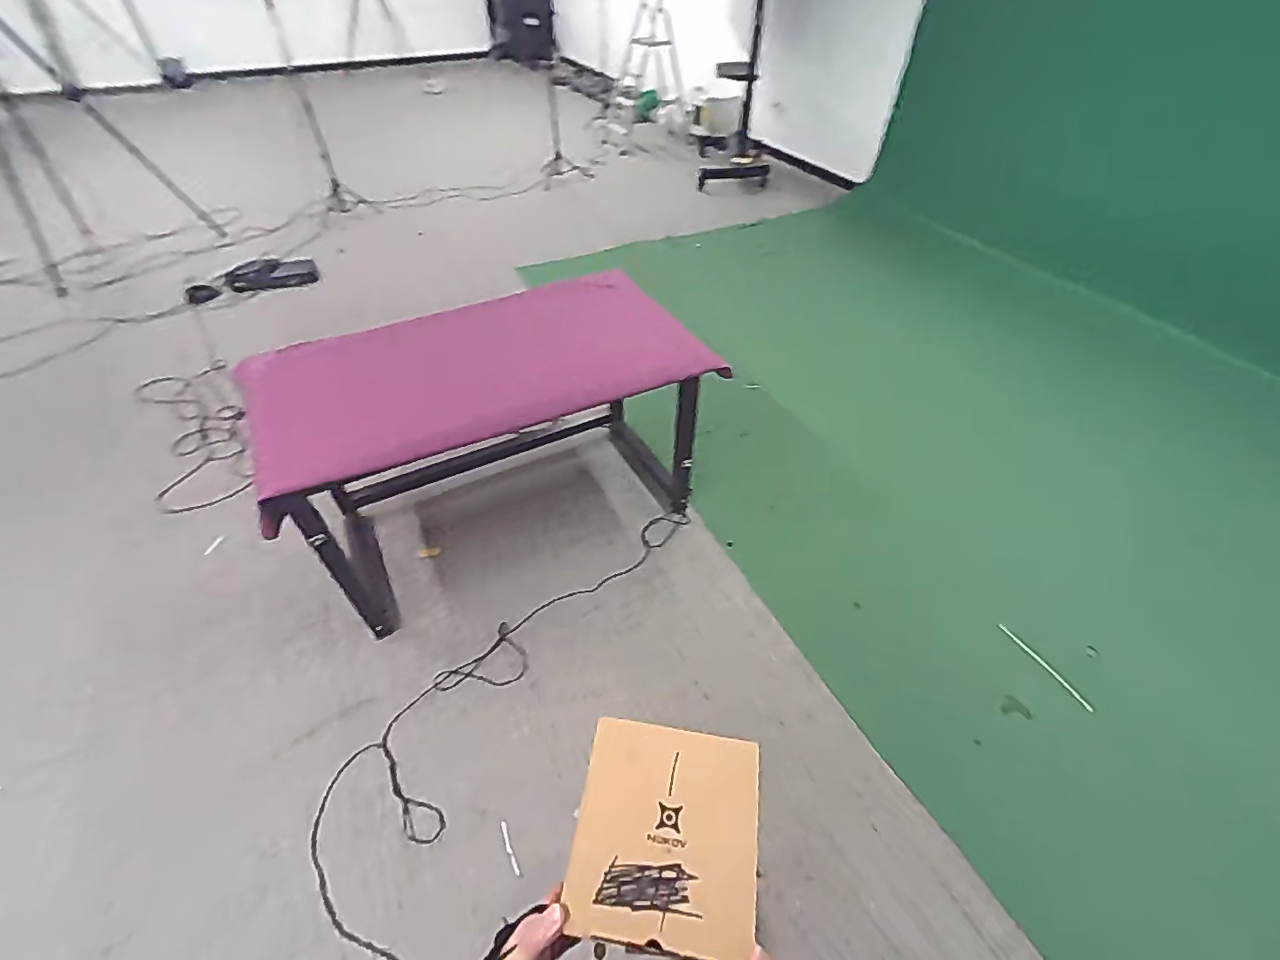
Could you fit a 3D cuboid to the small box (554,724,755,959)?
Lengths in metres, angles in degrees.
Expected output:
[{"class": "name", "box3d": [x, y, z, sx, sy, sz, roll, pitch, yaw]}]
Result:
[{"class": "small box", "box3d": [0.021, 0.377, 0.554, 0.168, 0.176, 0.179, 7, 50, 5]}]
